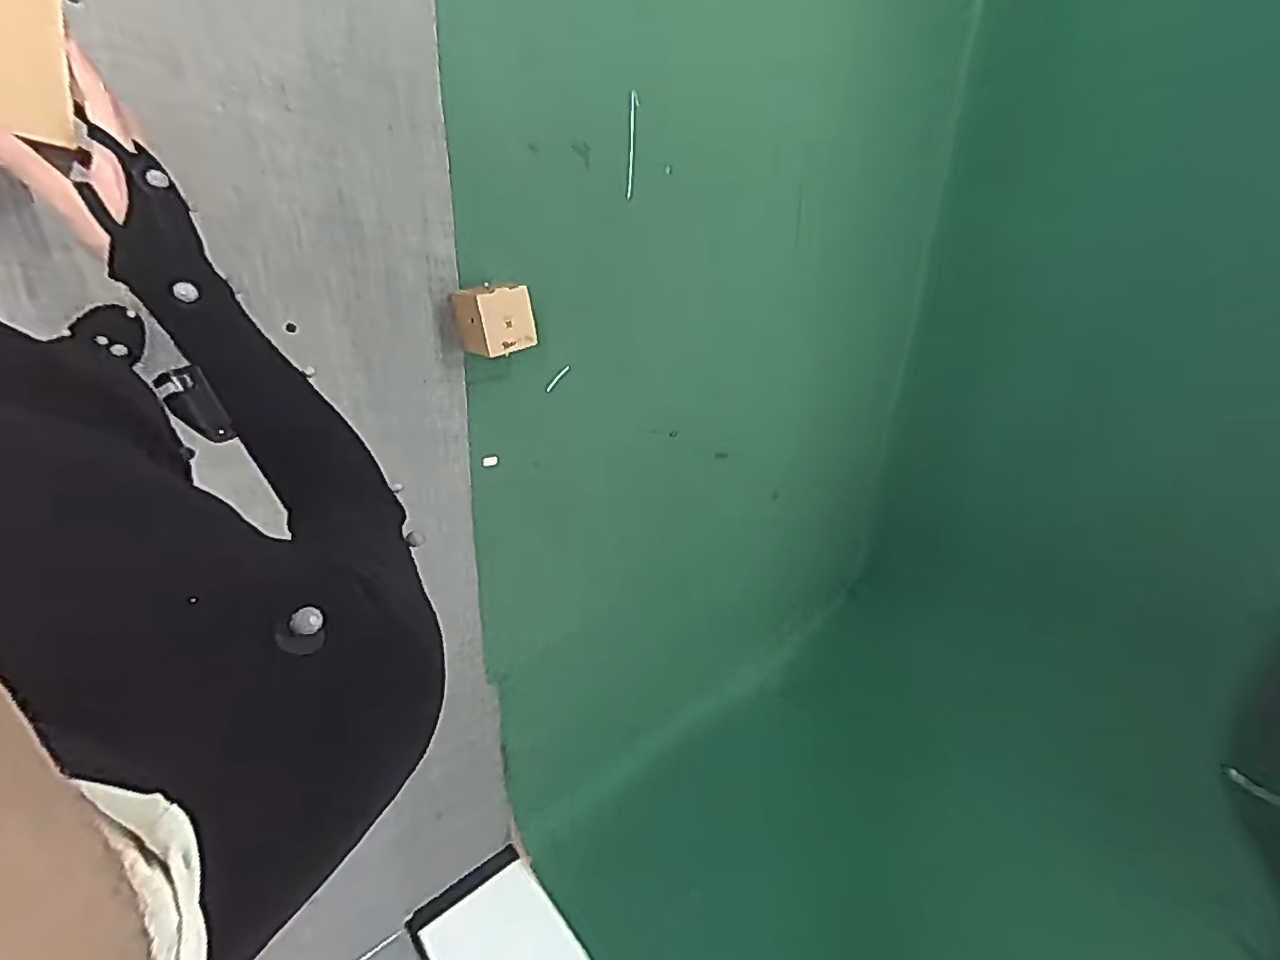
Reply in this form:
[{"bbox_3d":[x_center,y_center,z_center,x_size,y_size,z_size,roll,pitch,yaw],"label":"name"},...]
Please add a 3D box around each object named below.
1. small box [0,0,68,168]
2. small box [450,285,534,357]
[{"bbox_3d":[-0.524,-0.342,0.369,0.168,0.176,0.179,-8,109,-47],"label":"small box"},{"bbox_3d":[-0.442,-0.478,1.604,0.168,0.176,0.179,-27,124,-34],"label":"small box"}]
